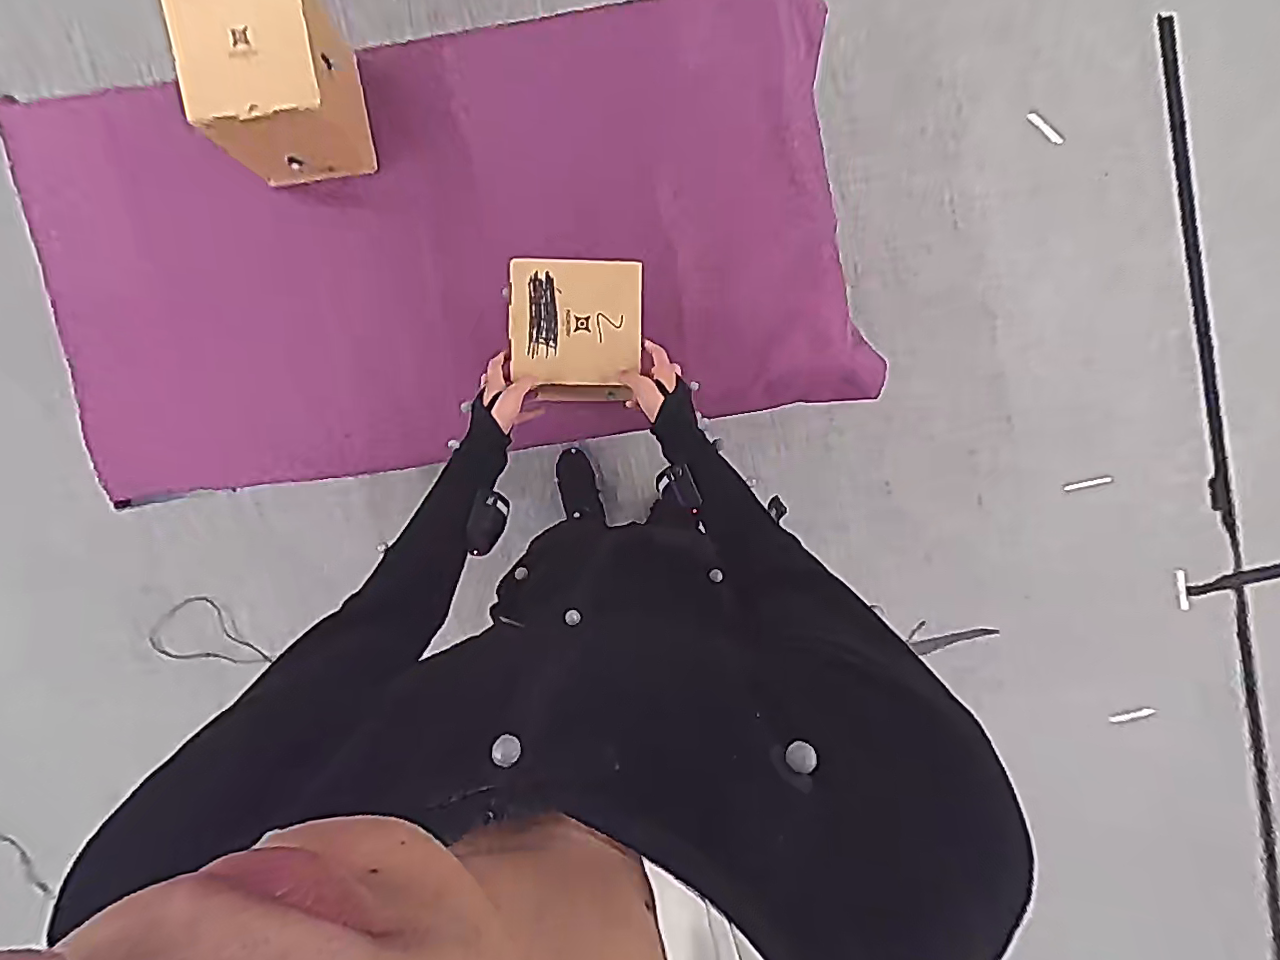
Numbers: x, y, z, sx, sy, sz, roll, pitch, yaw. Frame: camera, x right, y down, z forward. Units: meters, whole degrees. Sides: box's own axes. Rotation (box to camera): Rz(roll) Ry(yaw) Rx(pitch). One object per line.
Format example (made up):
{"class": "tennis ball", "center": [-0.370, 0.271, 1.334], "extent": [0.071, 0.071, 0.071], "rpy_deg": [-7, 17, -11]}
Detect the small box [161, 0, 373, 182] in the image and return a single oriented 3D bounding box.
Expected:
{"class": "small box", "center": [-0.497, -0.545, 0.744], "extent": [0.168, 0.176, 0.179], "rpy_deg": [-10, 95, -3]}
